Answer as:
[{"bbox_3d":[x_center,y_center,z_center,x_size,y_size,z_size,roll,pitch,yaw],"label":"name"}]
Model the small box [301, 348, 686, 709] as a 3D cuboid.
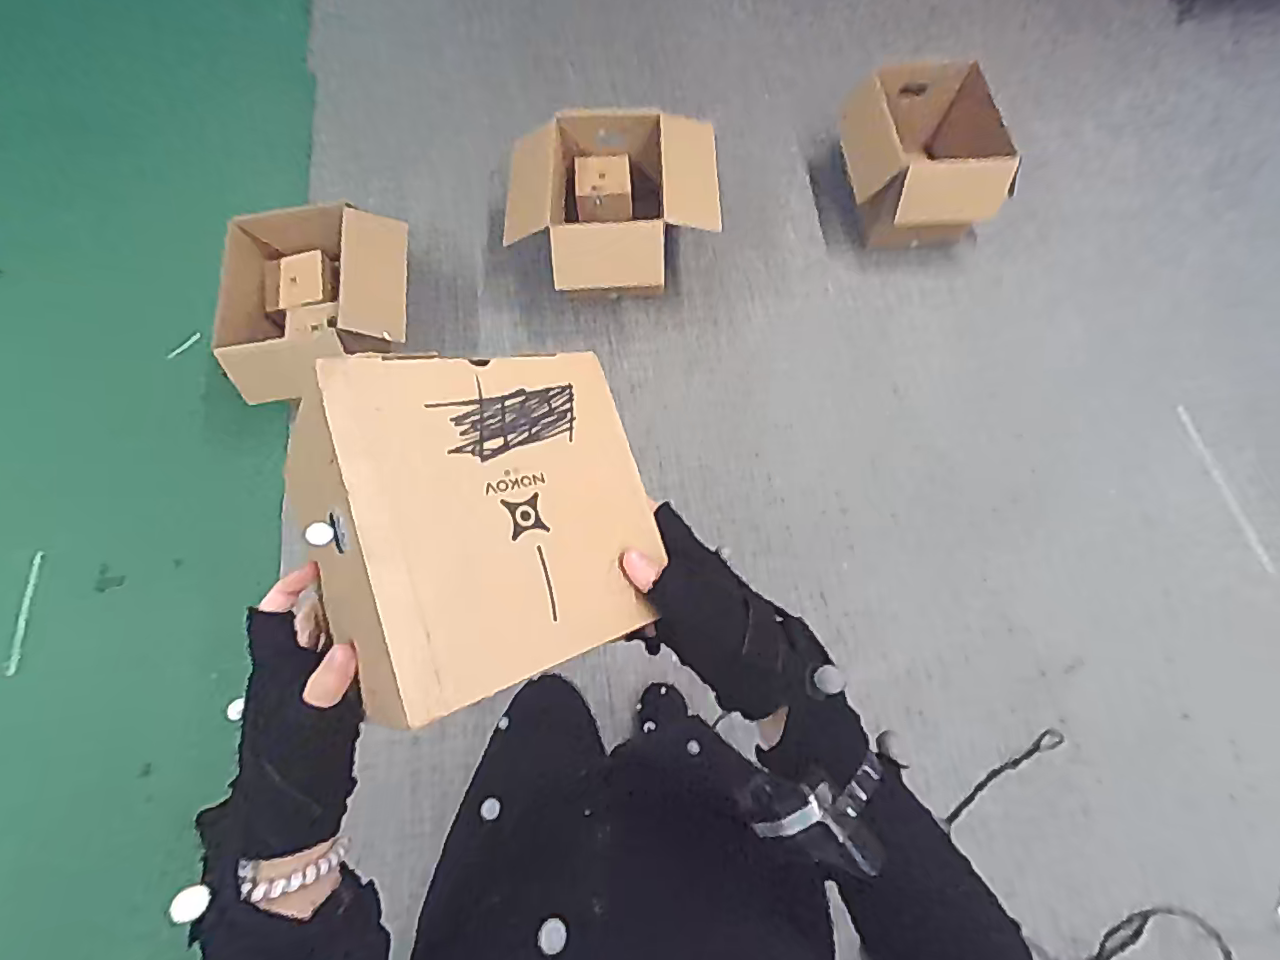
[{"bbox_3d":[-0.105,0.032,0.352,0.168,0.176,0.179,-12,80,-39],"label":"small box"}]
